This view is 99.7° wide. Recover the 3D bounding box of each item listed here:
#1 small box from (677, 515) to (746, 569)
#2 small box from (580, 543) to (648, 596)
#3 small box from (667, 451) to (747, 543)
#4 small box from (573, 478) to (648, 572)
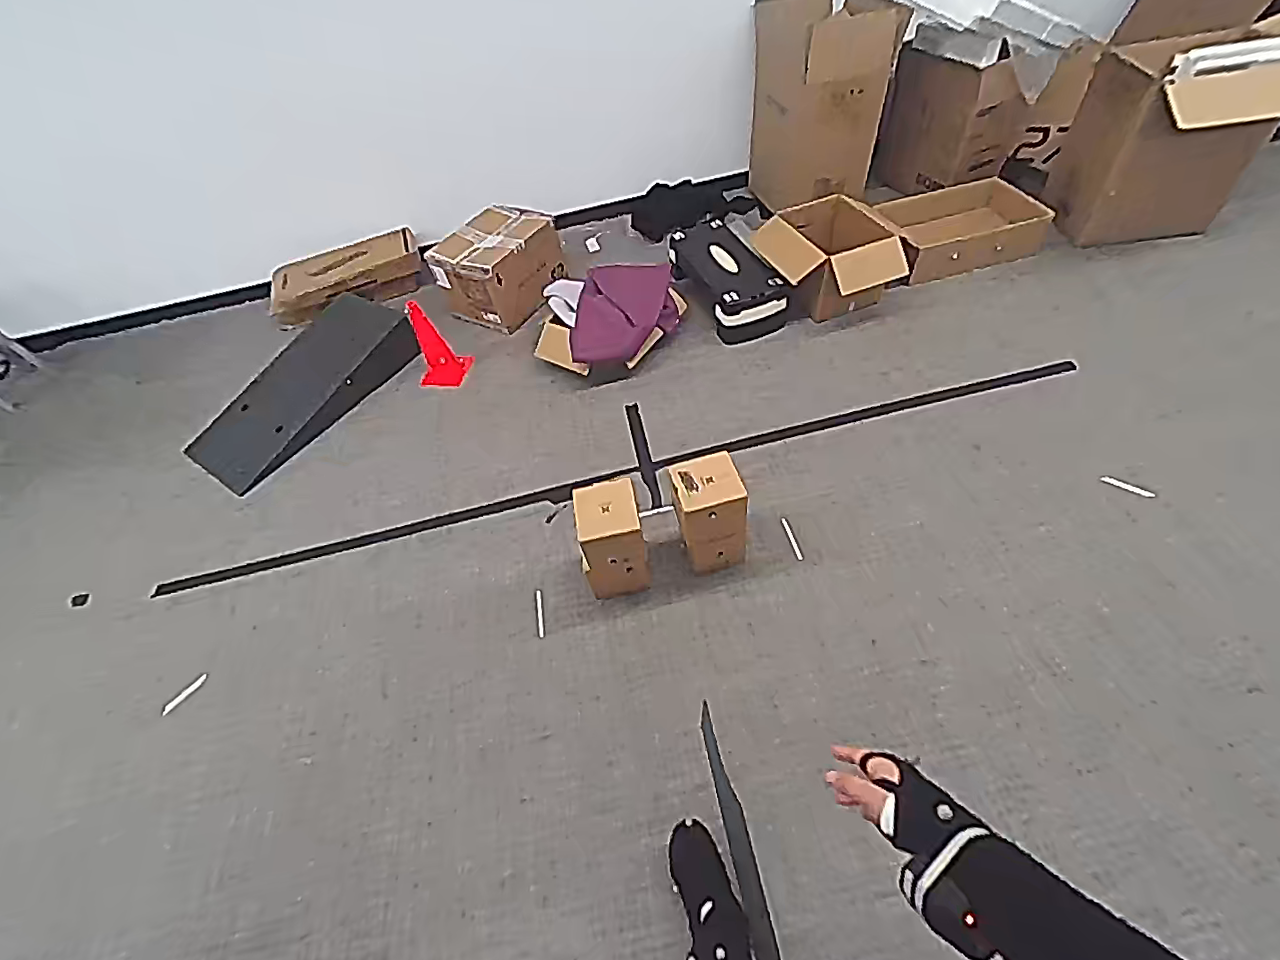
[{"bbox_3d":[0.212,0.150,1.625,0.168,0.176,0.179,-15,52,-3],"label":"small box"},{"bbox_3d":[-0.076,0.225,1.610,0.179,0.176,0.168,-13,51,0],"label":"small box"},{"bbox_3d":[0.185,0.052,1.494,0.179,0.176,0.168,-15,51,-4],"label":"small box"},{"bbox_3d":[-0.080,0.124,1.481,0.168,0.176,0.179,-13,52,0],"label":"small box"}]
